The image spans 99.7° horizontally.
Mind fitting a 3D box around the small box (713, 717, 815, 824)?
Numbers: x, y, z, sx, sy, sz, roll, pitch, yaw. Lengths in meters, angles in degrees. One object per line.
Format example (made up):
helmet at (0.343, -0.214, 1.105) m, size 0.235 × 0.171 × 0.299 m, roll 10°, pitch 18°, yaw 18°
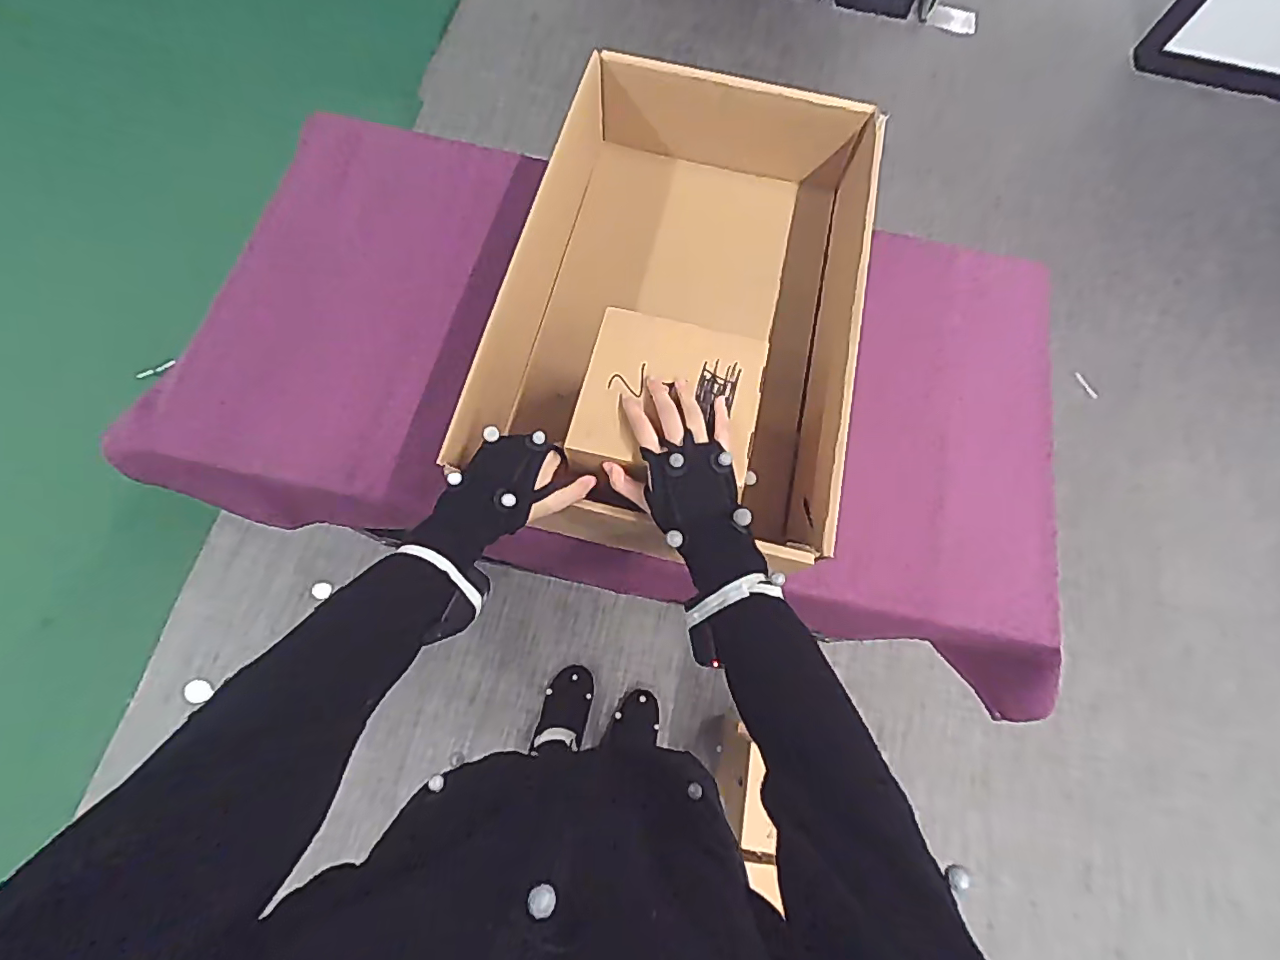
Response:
small box at (0.273, 0.642, 1.218) m, size 0.179 × 0.176 × 0.168 m, roll 12°, pitch 72°, yaw 2°
